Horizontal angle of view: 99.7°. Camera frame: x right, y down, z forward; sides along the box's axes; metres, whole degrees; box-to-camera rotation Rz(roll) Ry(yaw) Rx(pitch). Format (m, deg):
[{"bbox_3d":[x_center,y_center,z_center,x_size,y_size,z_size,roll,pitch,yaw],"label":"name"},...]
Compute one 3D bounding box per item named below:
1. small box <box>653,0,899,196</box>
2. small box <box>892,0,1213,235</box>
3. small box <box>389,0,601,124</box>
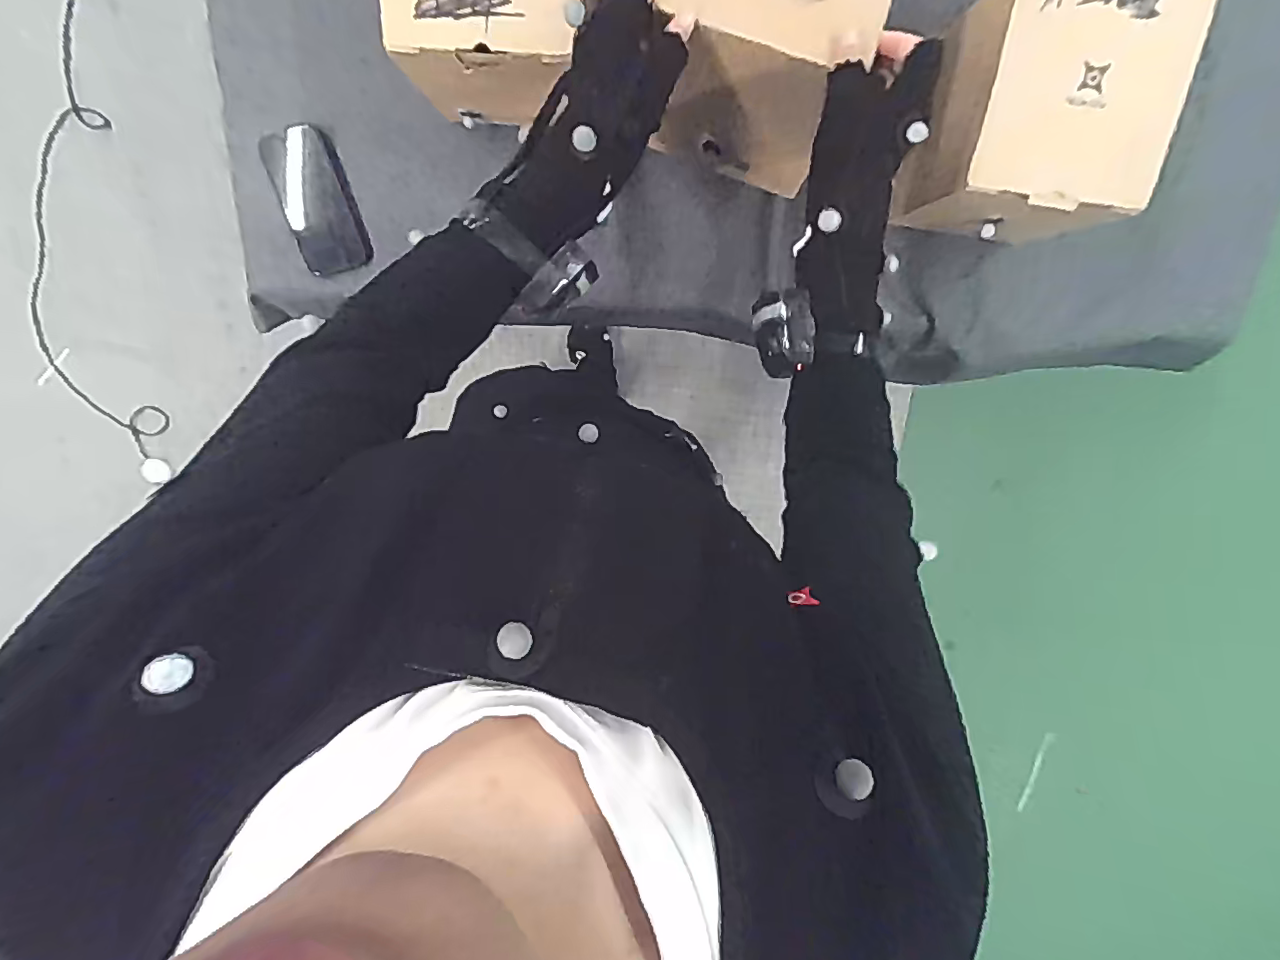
[{"bbox_3d":[0.113,-0.393,0.469,0.168,0.176,0.179,17,89,-2],"label":"small box"},{"bbox_3d":[0.381,-0.357,0.542,0.168,0.176,0.179,7,106,-3],"label":"small box"},{"bbox_3d":[-0.124,-0.464,0.511,0.168,0.176,0.179,2,105,-1],"label":"small box"}]
